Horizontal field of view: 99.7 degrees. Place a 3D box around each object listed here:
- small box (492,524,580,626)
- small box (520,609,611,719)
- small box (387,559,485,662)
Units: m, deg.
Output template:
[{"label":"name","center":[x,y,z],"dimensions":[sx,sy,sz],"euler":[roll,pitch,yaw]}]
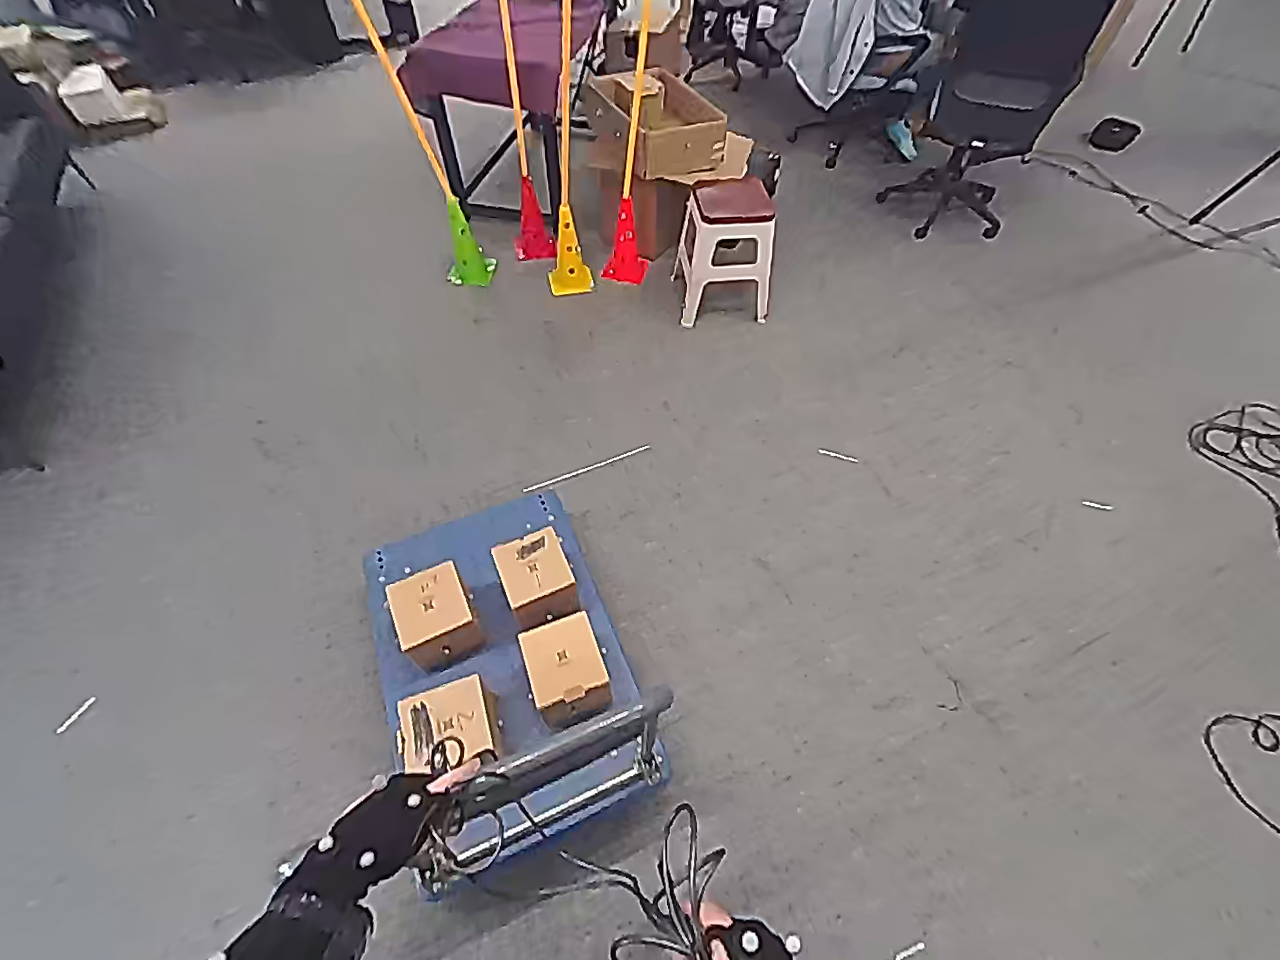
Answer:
[{"label":"small box","center":[-0.266,0.250,1.405],"dimensions":[0.168,0.176,0.179],"euler":[-22,59,-14]},{"label":"small box","center":[-0.173,0.437,1.279],"dimensions":[0.168,0.176,0.179],"euler":[-18,58,-13]},{"label":"small box","center":[-0.501,0.333,1.346],"dimensions":[0.168,0.176,0.179],"euler":[-22,58,-16]}]
